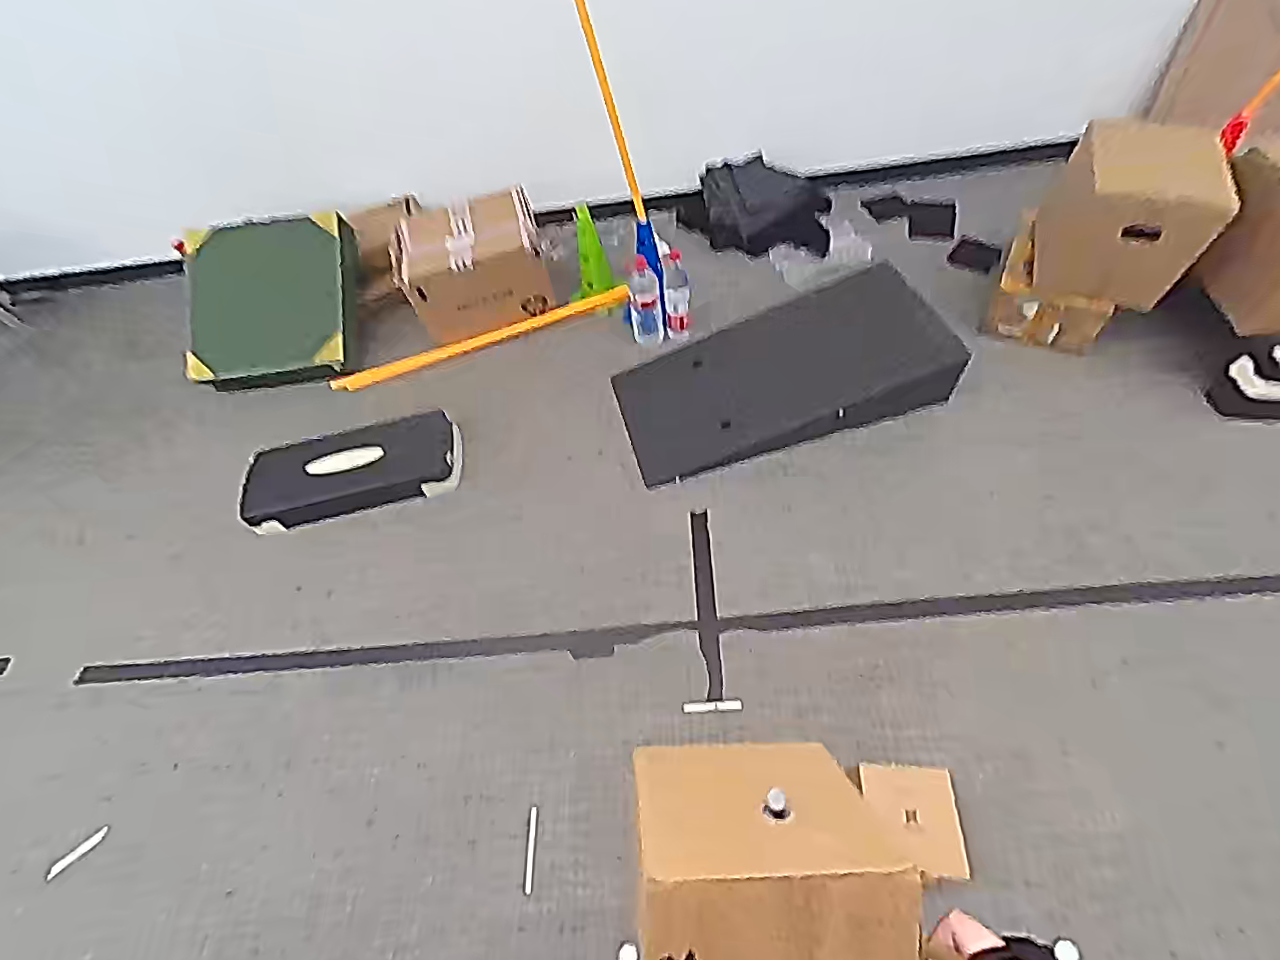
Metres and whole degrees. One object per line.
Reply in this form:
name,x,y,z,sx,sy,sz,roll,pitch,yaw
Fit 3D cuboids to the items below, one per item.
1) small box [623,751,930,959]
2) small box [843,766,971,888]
small box,0.081,0.318,0.397,0.179,0.176,0.168,0,88,-5
small box,0.502,0.666,1.043,0.168,0.176,0.179,1,56,7
